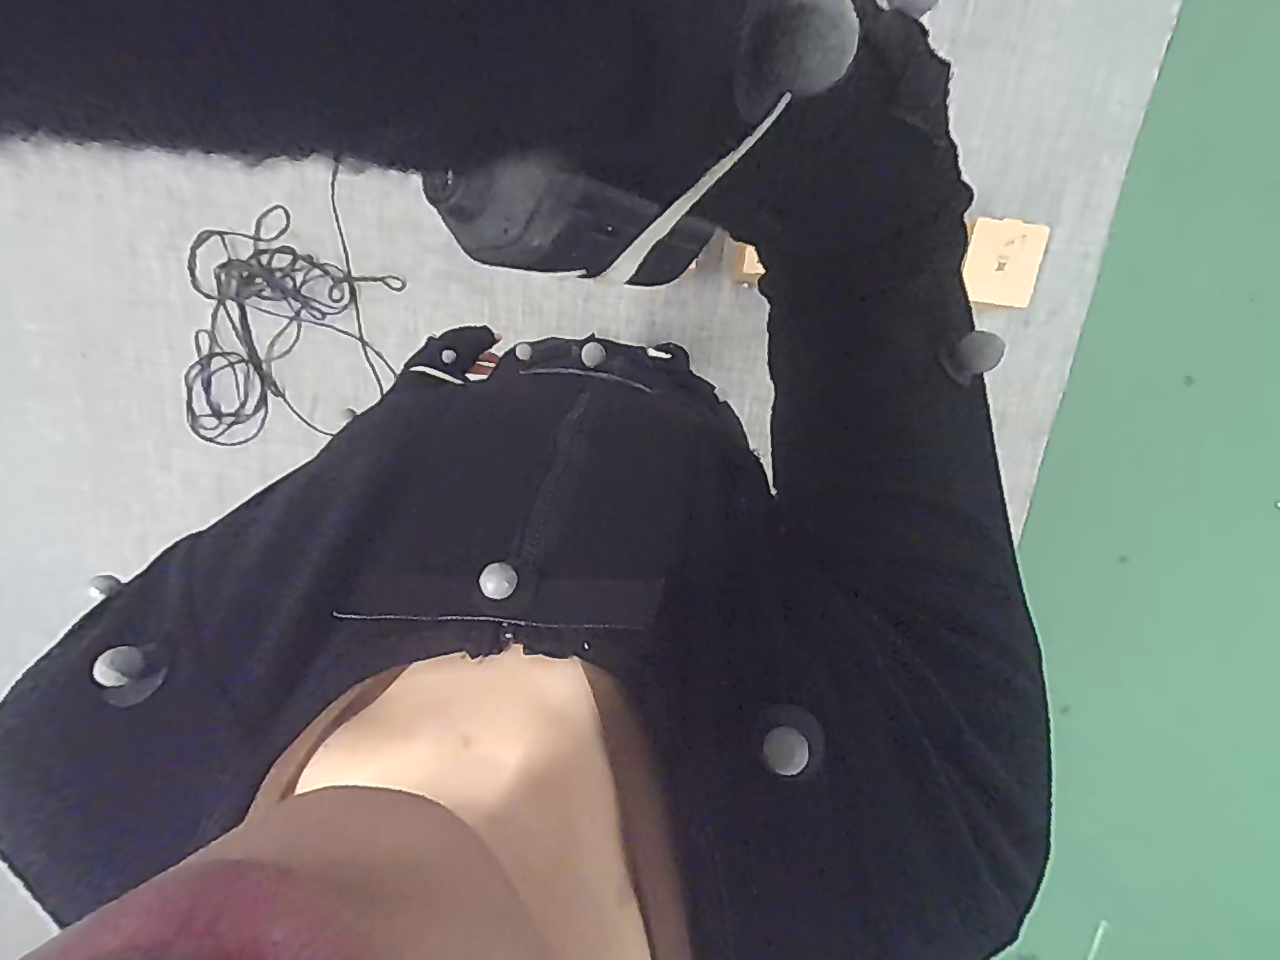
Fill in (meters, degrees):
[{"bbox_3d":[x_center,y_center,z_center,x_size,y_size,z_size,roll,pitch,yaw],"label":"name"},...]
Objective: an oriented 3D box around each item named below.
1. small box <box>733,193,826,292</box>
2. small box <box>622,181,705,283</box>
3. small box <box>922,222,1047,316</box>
[{"bbox_3d":[0.316,-0.545,1.262,0.168,0.176,0.179,7,102,0],"label":"small box"},{"bbox_3d":[0.051,-0.571,1.264,0.168,0.176,0.179,7,103,0],"label":"small box"},{"bbox_3d":[0.793,-0.485,1.267,0.168,0.176,0.179,7,103,-1],"label":"small box"}]
